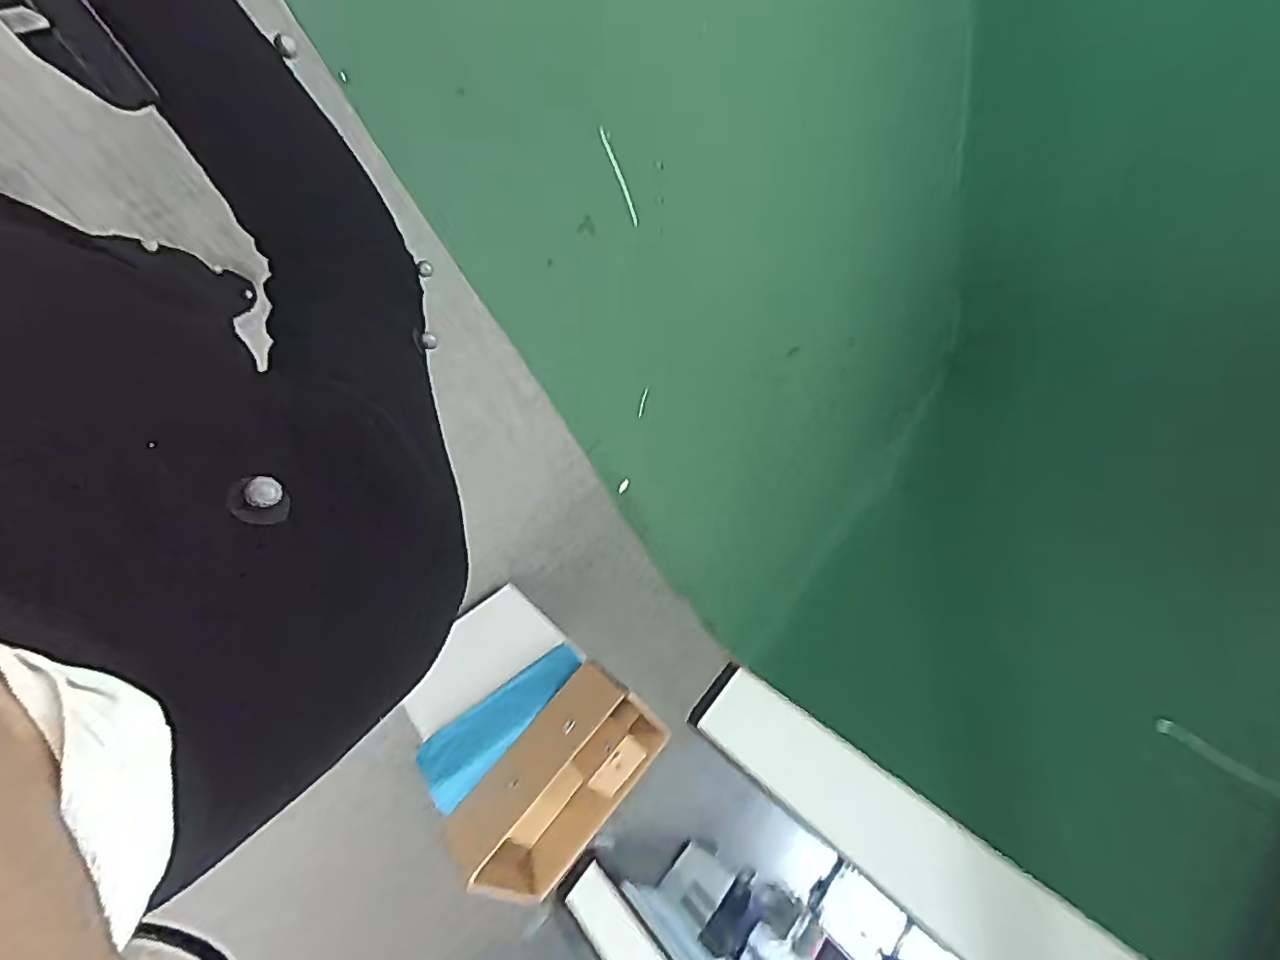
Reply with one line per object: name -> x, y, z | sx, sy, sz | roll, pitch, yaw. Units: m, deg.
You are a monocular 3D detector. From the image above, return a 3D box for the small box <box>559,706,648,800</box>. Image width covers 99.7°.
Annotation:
small box -> -0.110, 0.817, 1.630 | 0.168, 0.176, 0.179 | -46, 137, -17
